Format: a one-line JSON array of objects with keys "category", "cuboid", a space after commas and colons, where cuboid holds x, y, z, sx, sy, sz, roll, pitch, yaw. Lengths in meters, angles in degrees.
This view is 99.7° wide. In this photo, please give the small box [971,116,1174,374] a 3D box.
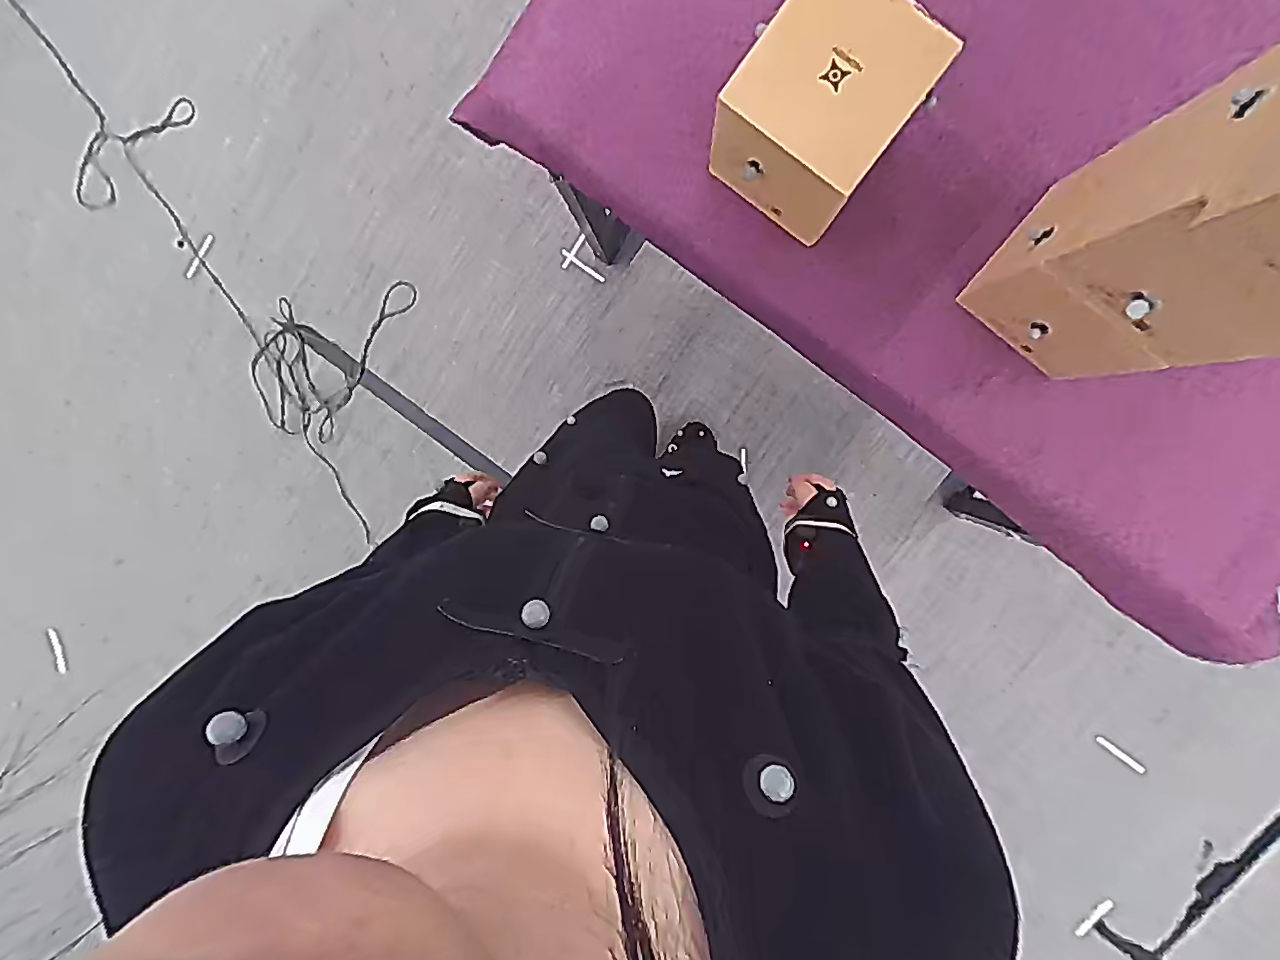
[{"category": "small box", "cuboid": [0.511, -0.236, 0.600, 0.168, 0.176, 0.179, 39, 97, -1]}]

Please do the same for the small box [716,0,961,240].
[{"category": "small box", "cuboid": [0.199, -0.406, 0.604, 0.168, 0.176, 0.179, 37, 97, -1]}]

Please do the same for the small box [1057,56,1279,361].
[{"category": "small box", "cuboid": [0.503, -0.218, 0.436, 0.168, 0.176, 0.179, 39, 98, 0]}]
